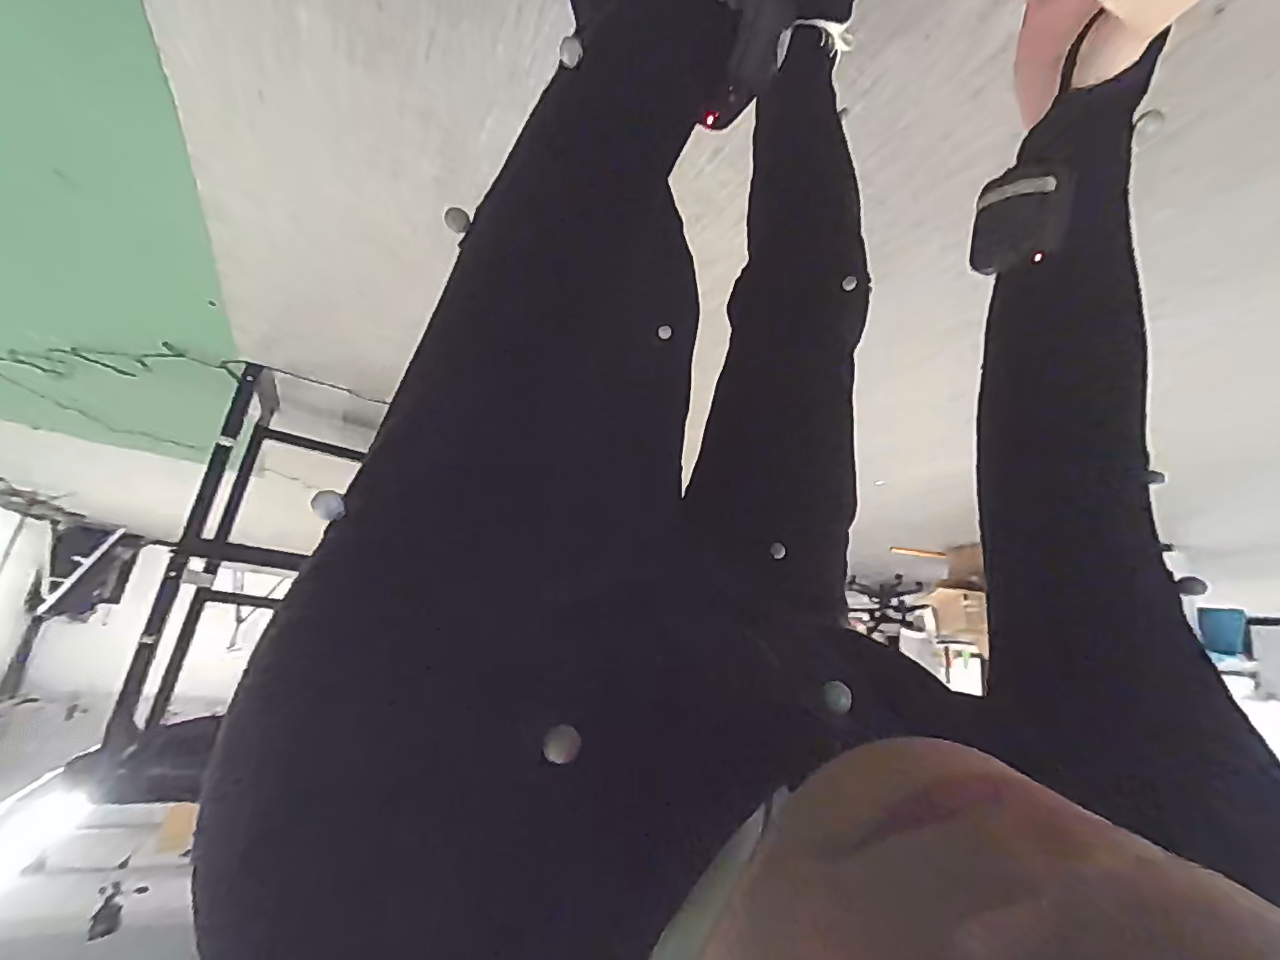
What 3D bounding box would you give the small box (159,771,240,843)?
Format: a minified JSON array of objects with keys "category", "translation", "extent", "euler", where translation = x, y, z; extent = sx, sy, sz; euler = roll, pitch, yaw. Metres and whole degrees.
[{"category":"small box","translation":[-1.468,1.088,1.815],"extent":[0.179,0.176,0.168],"euler":[18,160,-31]}]
